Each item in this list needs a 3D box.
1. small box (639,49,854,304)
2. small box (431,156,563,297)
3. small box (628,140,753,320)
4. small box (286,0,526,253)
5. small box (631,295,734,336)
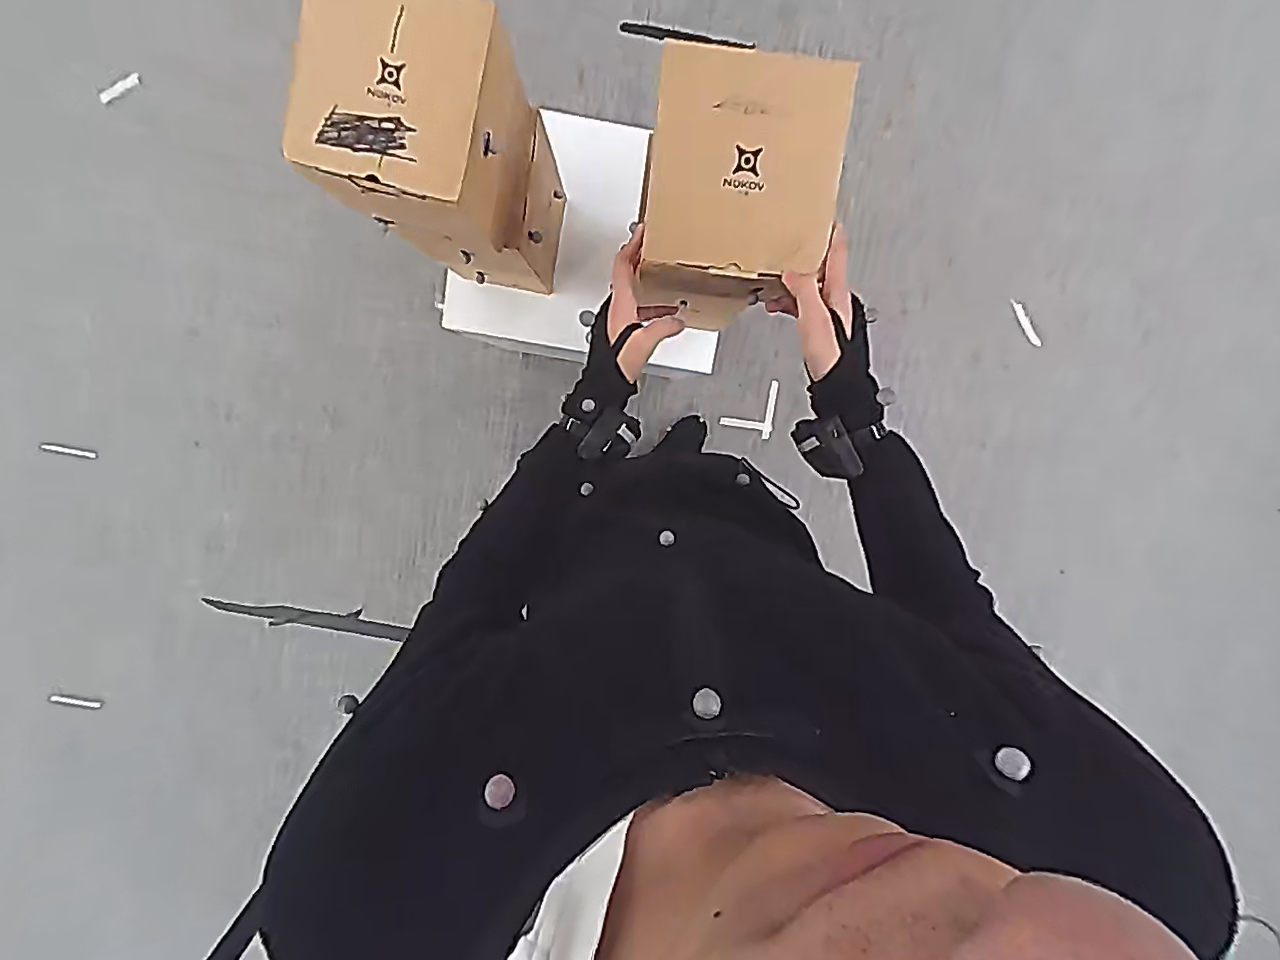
[{"bbox_3d":[0.088,-0.280,0.543,0.168,0.176,0.179,5,101,-3],"label":"small box"},{"bbox_3d":[-0.226,-0.414,0.891,0.168,0.176,0.179,10,98,-3],"label":"small box"},{"bbox_3d":[0.078,-0.326,0.742,0.168,0.176,0.179,8,98,-2],"label":"small box"},{"bbox_3d":[-0.227,-0.361,0.567,0.168,0.176,0.179,13,97,-3],"label":"small box"},{"bbox_3d":[0.076,-0.351,0.905,0.168,0.176,0.179,8,98,-1],"label":"small box"}]
